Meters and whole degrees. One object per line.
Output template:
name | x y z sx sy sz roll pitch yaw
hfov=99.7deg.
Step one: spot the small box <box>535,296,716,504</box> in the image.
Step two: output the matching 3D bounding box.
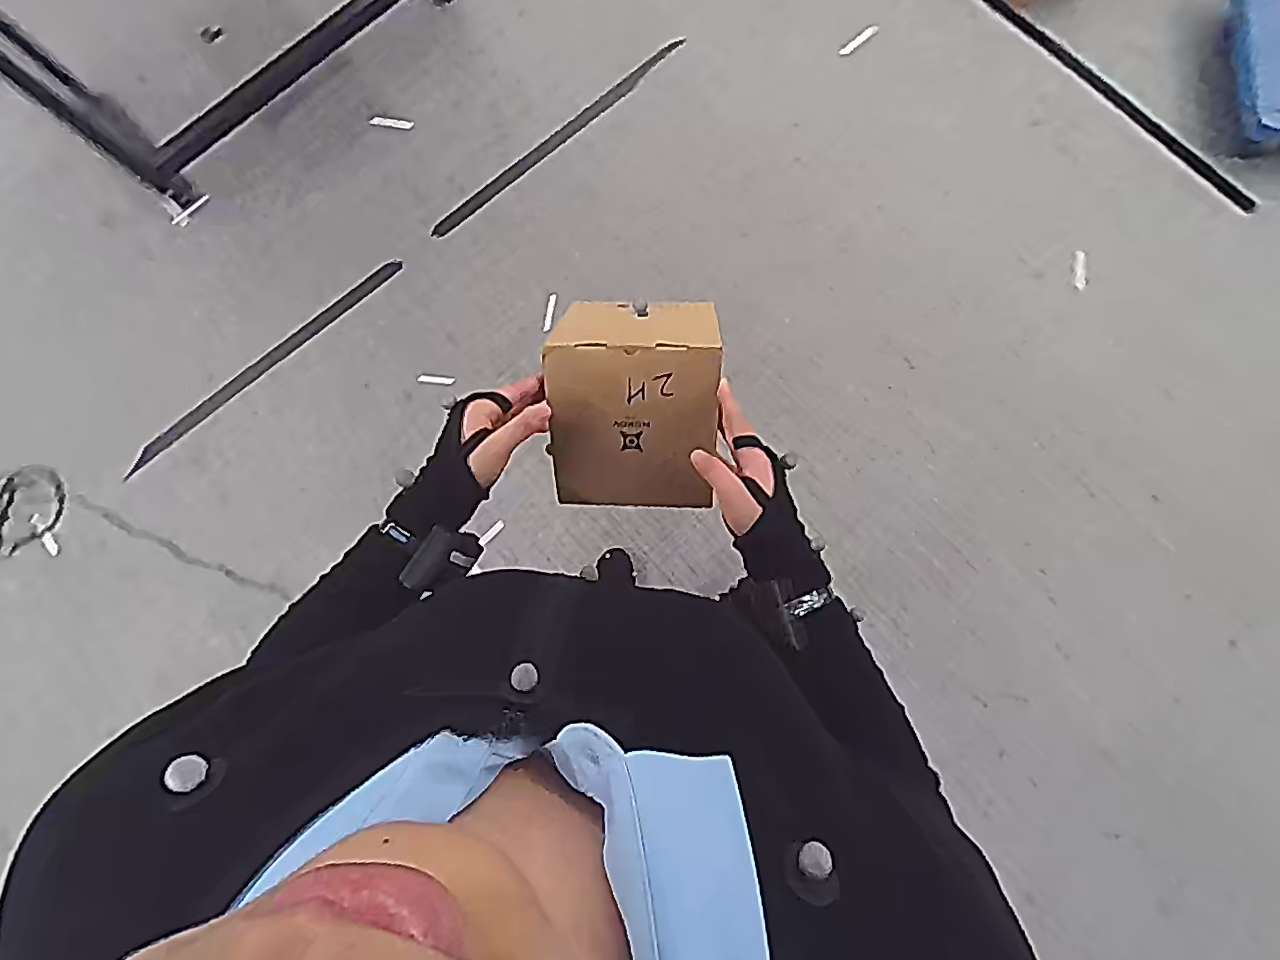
small box | -0.008 -0.092 0.591 0.168 0.176 0.179 1 120 3
